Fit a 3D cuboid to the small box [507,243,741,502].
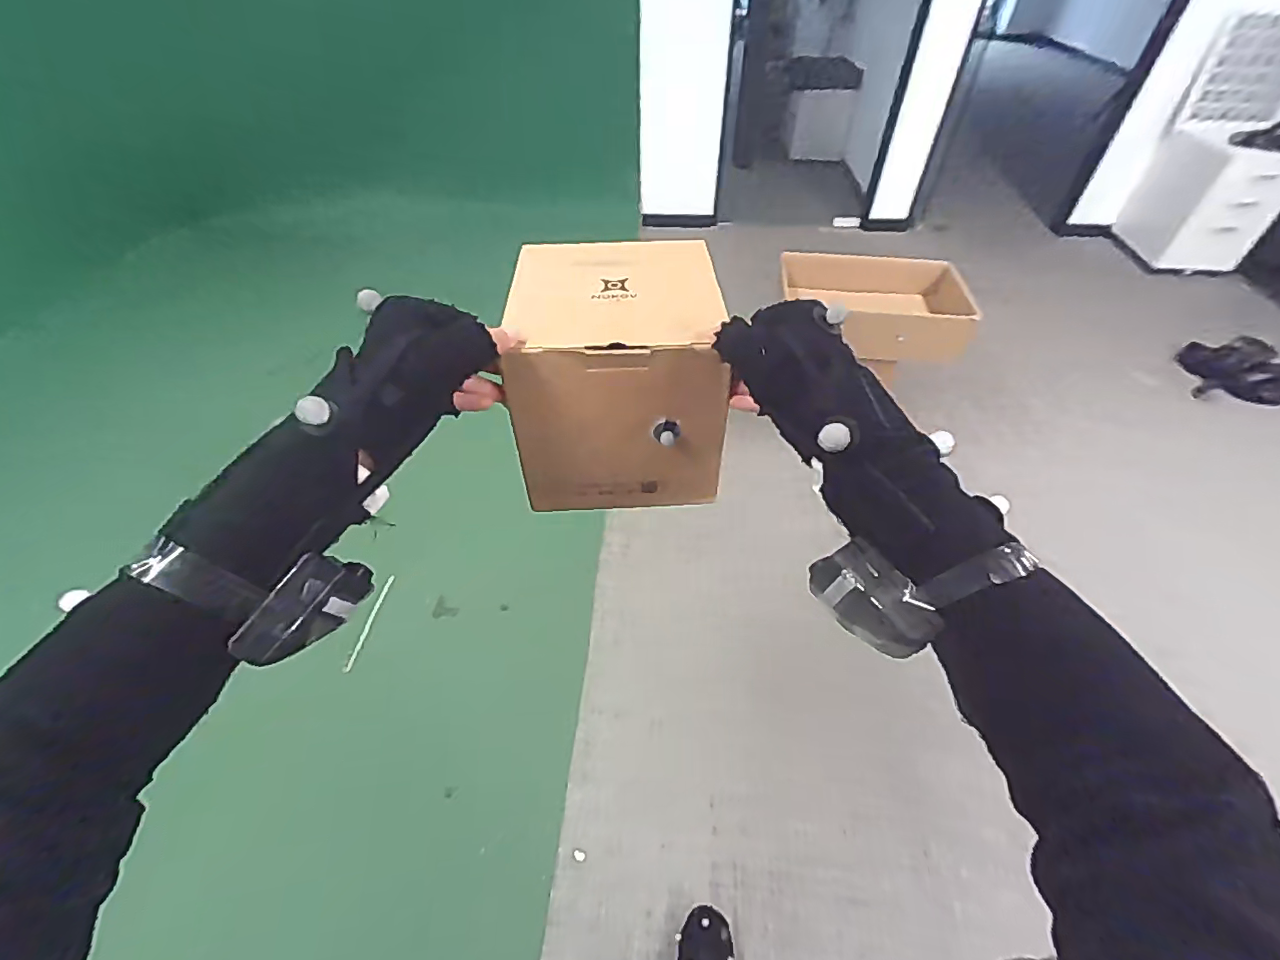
[{"bbox_3d":[-0.012,-0.092,0.484,0.168,0.176,0.179,-2,44,-2],"label":"small box"}]
